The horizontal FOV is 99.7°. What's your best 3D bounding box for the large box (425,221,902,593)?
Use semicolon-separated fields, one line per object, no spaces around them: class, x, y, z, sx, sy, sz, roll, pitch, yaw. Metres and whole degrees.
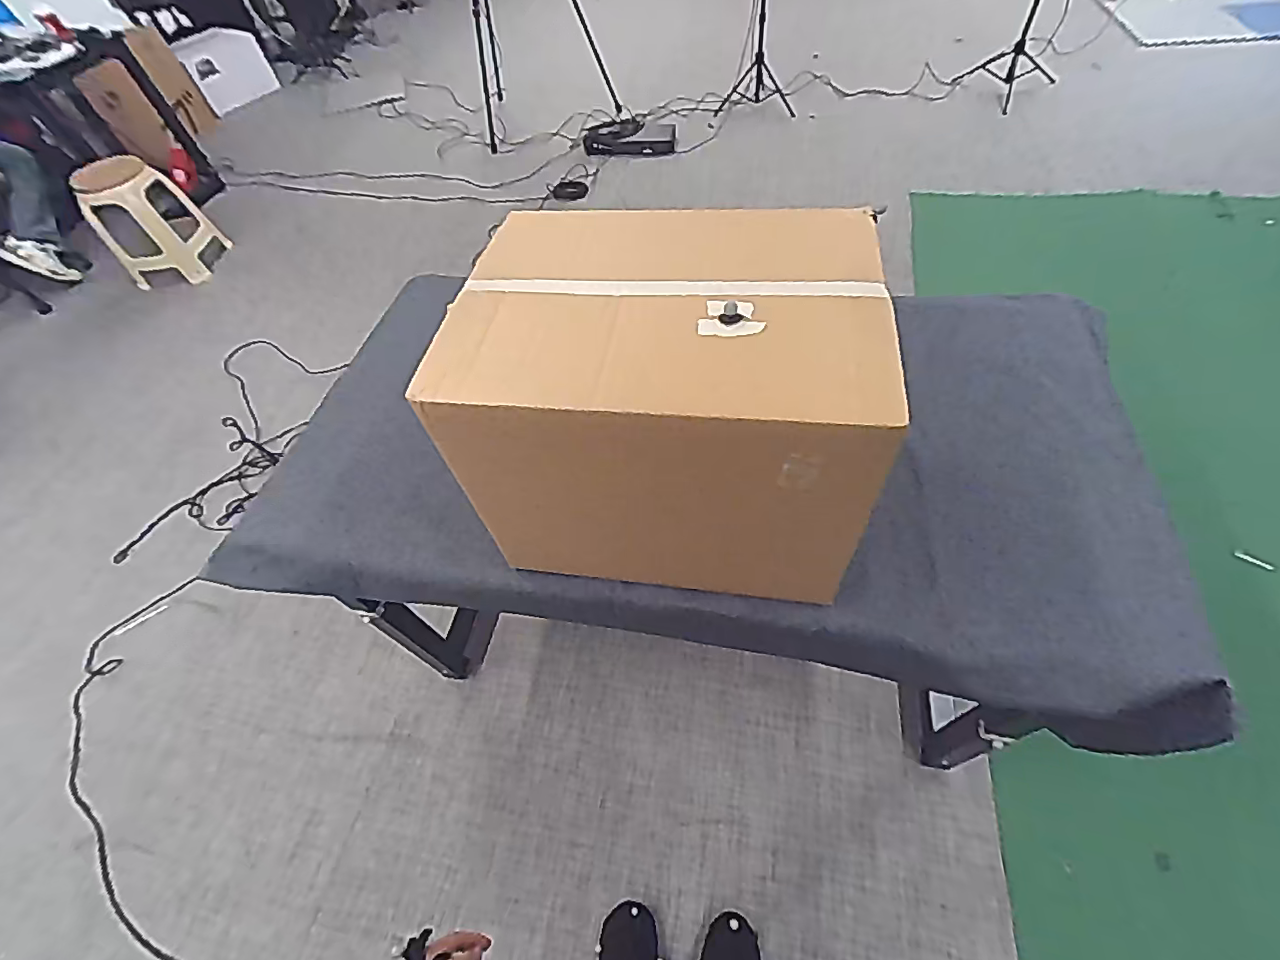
large box;0.038;-0.084;0.645;0.408;0.320;0.320;4;54;9
